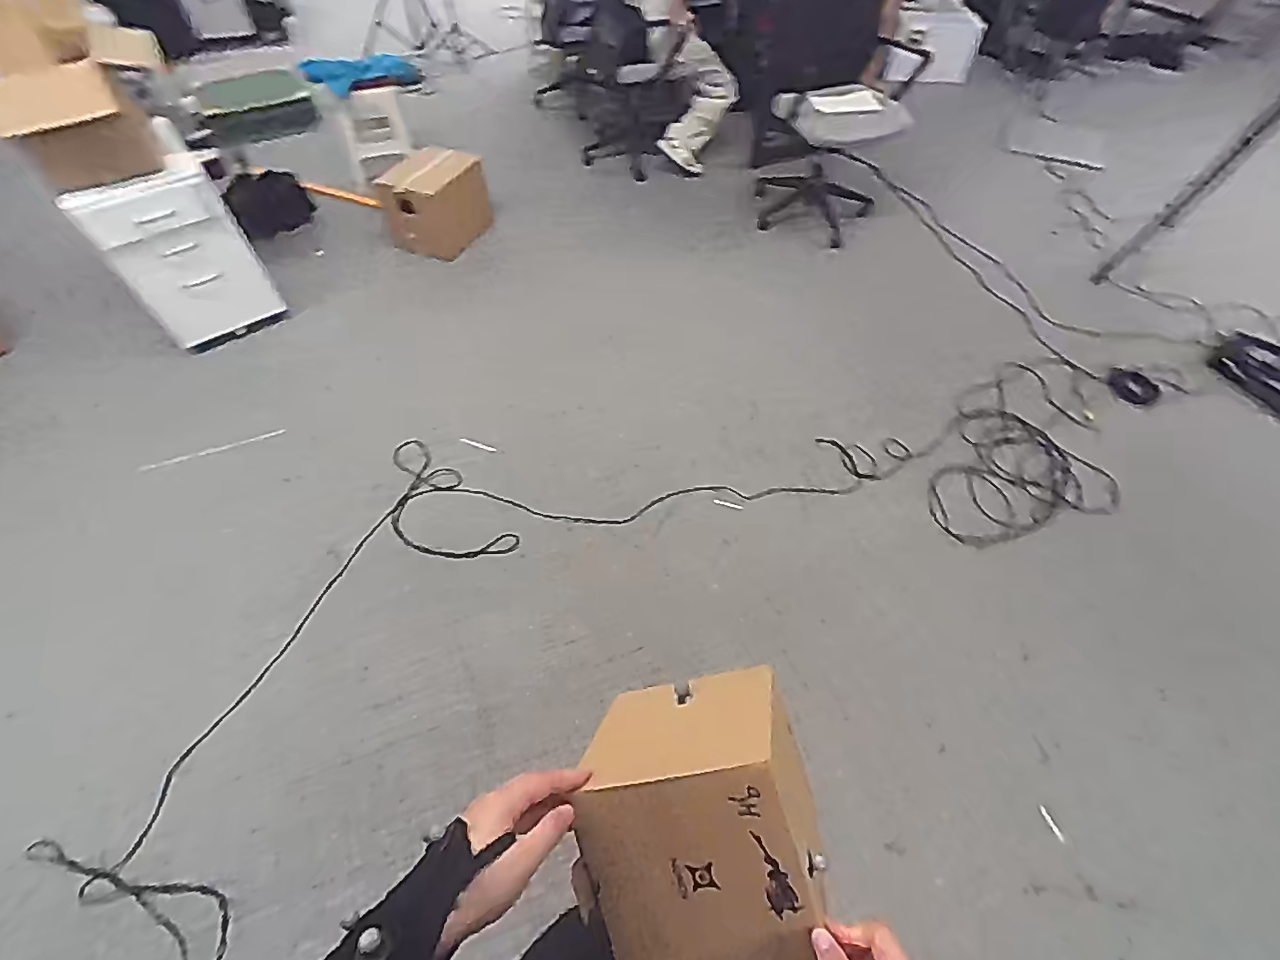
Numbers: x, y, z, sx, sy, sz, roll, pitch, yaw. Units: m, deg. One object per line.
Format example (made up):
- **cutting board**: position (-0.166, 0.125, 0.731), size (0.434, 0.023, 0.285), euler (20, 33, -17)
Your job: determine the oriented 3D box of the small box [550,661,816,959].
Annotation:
- **small box**: position (0.048, 0.290, 0.497), size (0.179, 0.176, 0.168), euler (-18, 92, 15)
